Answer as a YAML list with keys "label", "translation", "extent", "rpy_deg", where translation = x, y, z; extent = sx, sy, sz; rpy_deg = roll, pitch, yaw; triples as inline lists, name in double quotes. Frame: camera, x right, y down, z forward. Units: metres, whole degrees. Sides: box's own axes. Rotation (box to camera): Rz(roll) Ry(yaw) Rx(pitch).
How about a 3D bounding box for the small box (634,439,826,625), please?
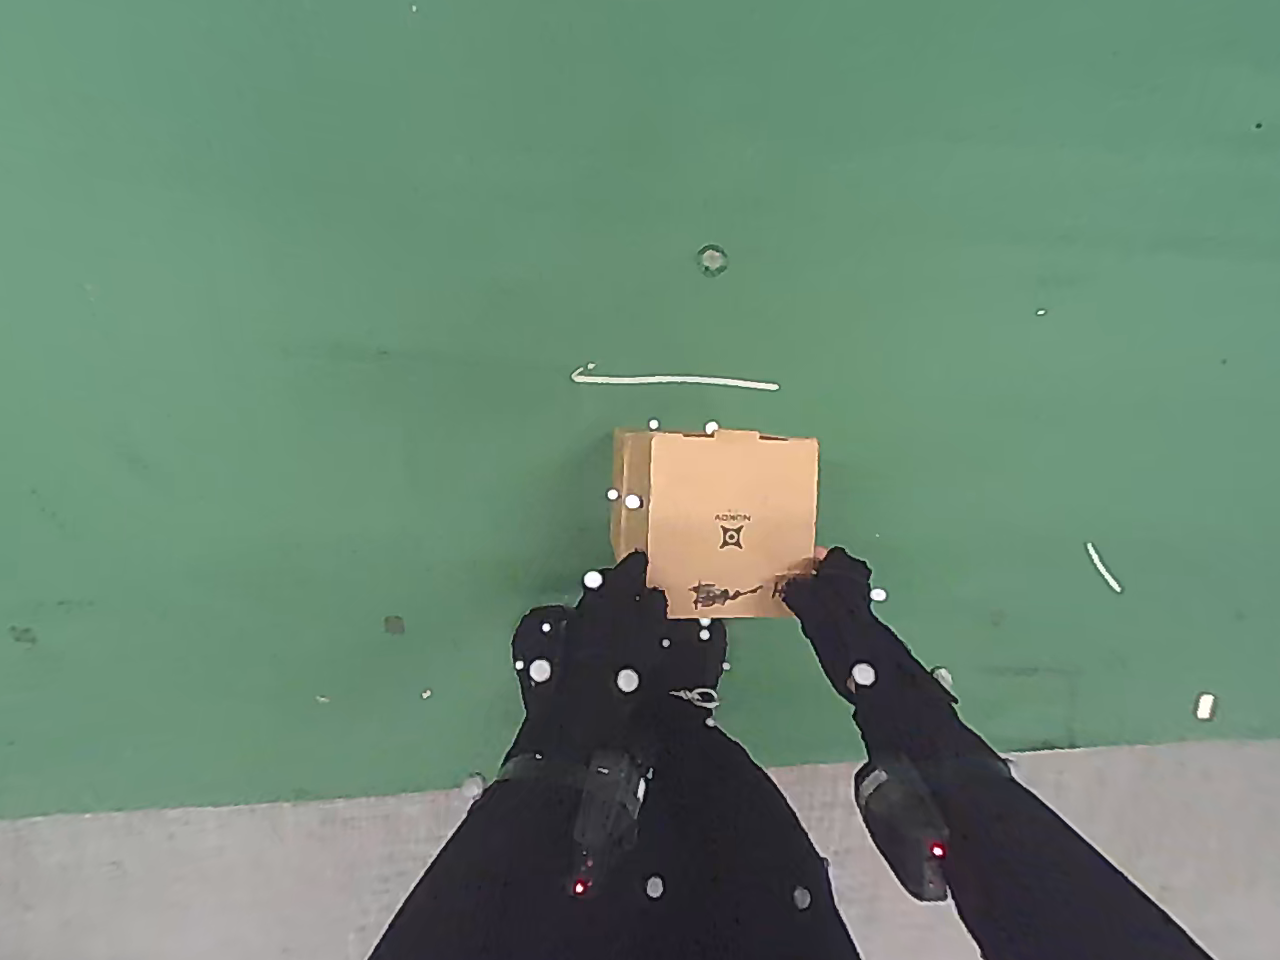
- label: "small box"
  translation: [0.084, 0.048, 0.590]
  extent: [0.168, 0.176, 0.179]
  rpy_deg: [1, 93, -7]

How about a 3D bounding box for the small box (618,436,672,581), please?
- label: "small box"
  translation: [0.060, 0.033, 0.737]
  extent: [0.168, 0.176, 0.179]
  rpy_deg: [4, 97, -5]
